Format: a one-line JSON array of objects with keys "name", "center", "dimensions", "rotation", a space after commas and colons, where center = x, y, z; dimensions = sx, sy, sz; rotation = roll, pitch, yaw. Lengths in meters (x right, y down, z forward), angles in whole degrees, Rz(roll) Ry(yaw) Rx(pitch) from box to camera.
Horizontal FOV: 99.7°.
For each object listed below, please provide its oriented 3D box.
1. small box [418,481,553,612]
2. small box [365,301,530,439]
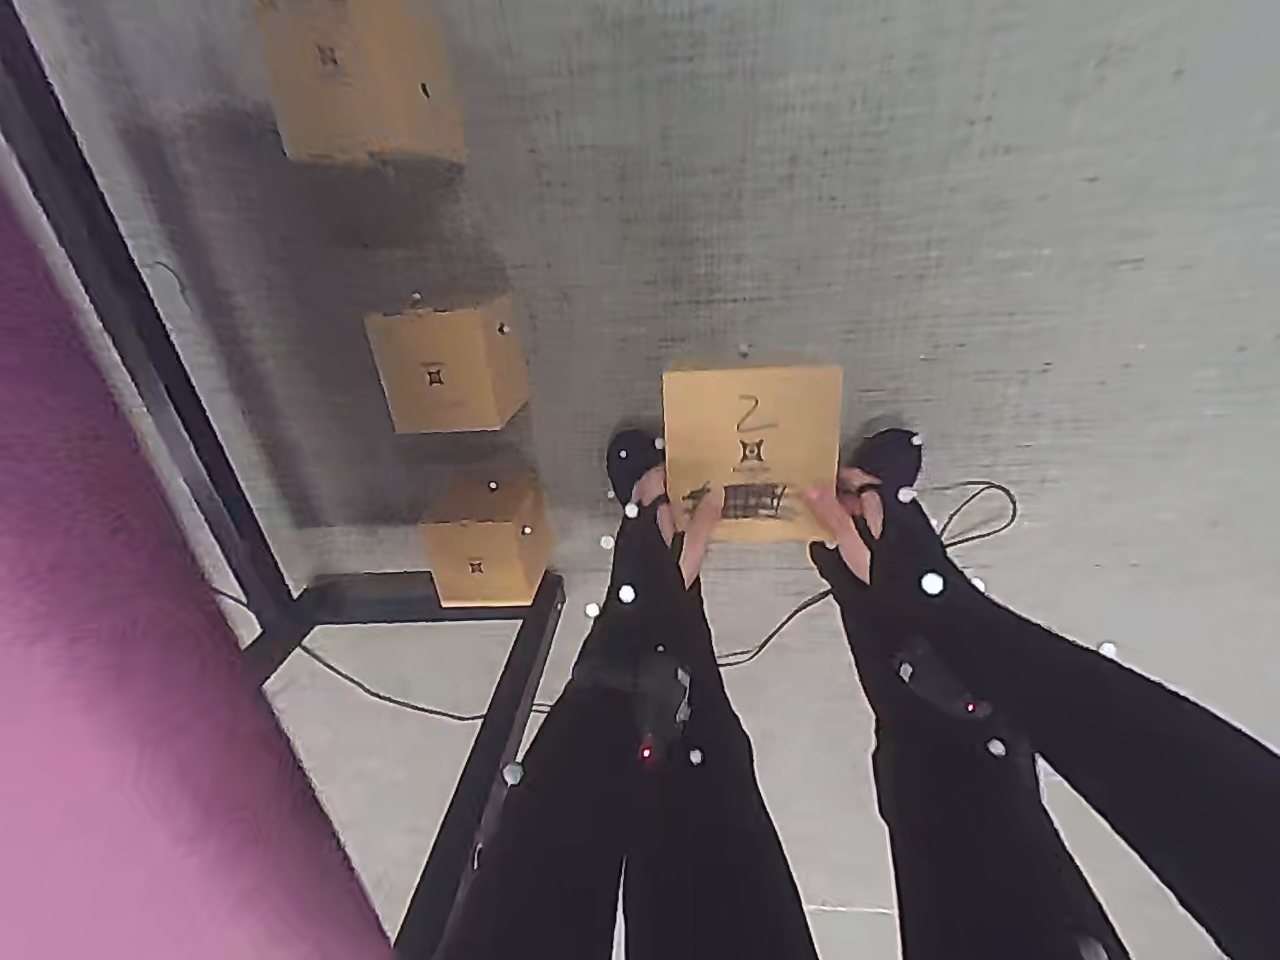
[{"name": "small box", "center": [-0.264, 0.117, 0.974], "dimensions": [0.168, 0.176, 0.179], "rotation": [-3, 115, 8]}, {"name": "small box", "center": [-0.281, -0.175, 0.832], "dimensions": [0.168, 0.176, 0.179], "rotation": [-1, 116, 8]}]
